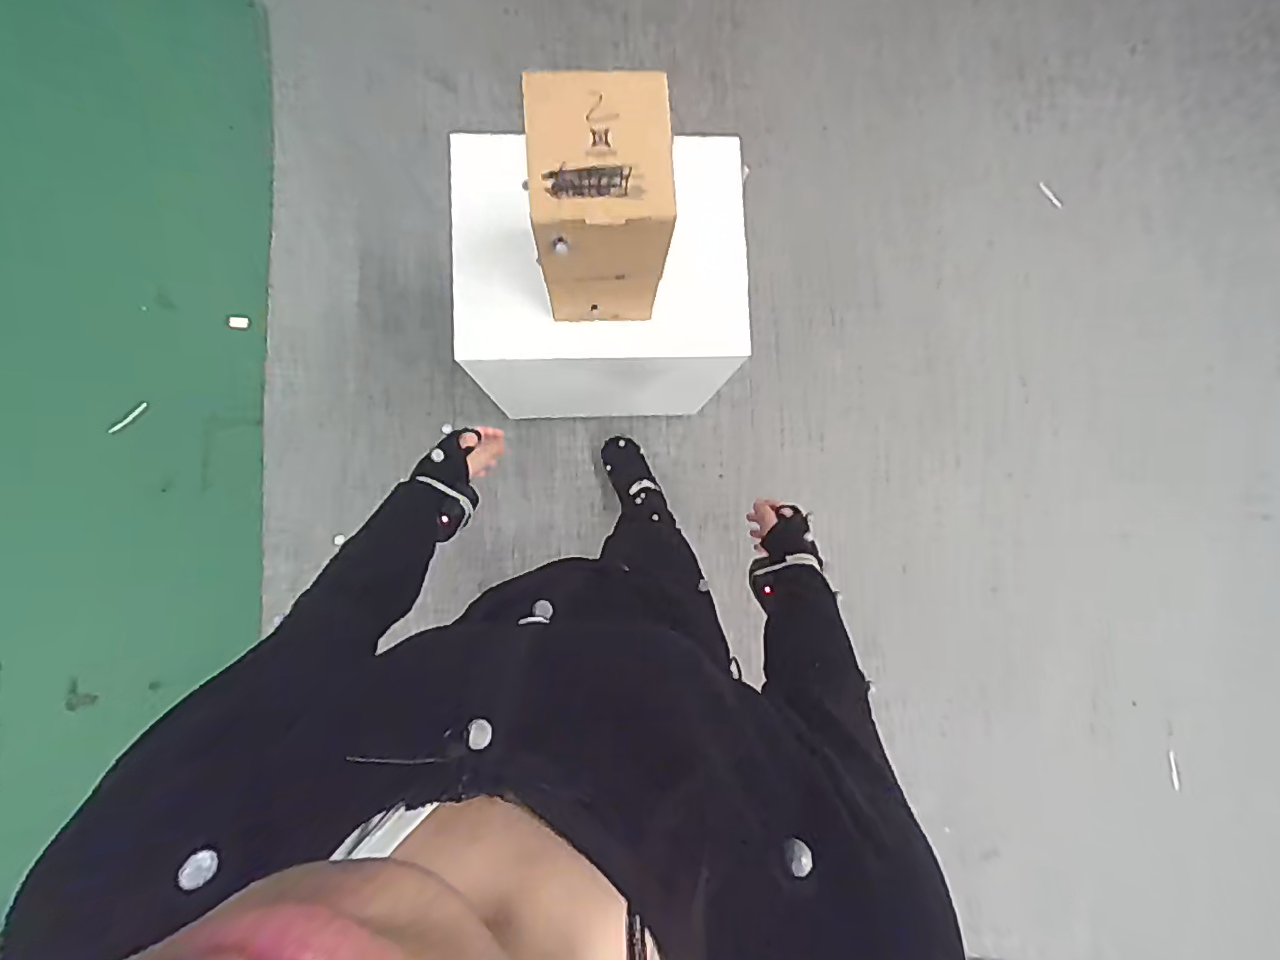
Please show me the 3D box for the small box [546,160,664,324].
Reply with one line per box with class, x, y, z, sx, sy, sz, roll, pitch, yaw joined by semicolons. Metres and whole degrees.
small box;-0.056;-0.358;0.837;0.168;0.176;0.179;-2;85;-4
